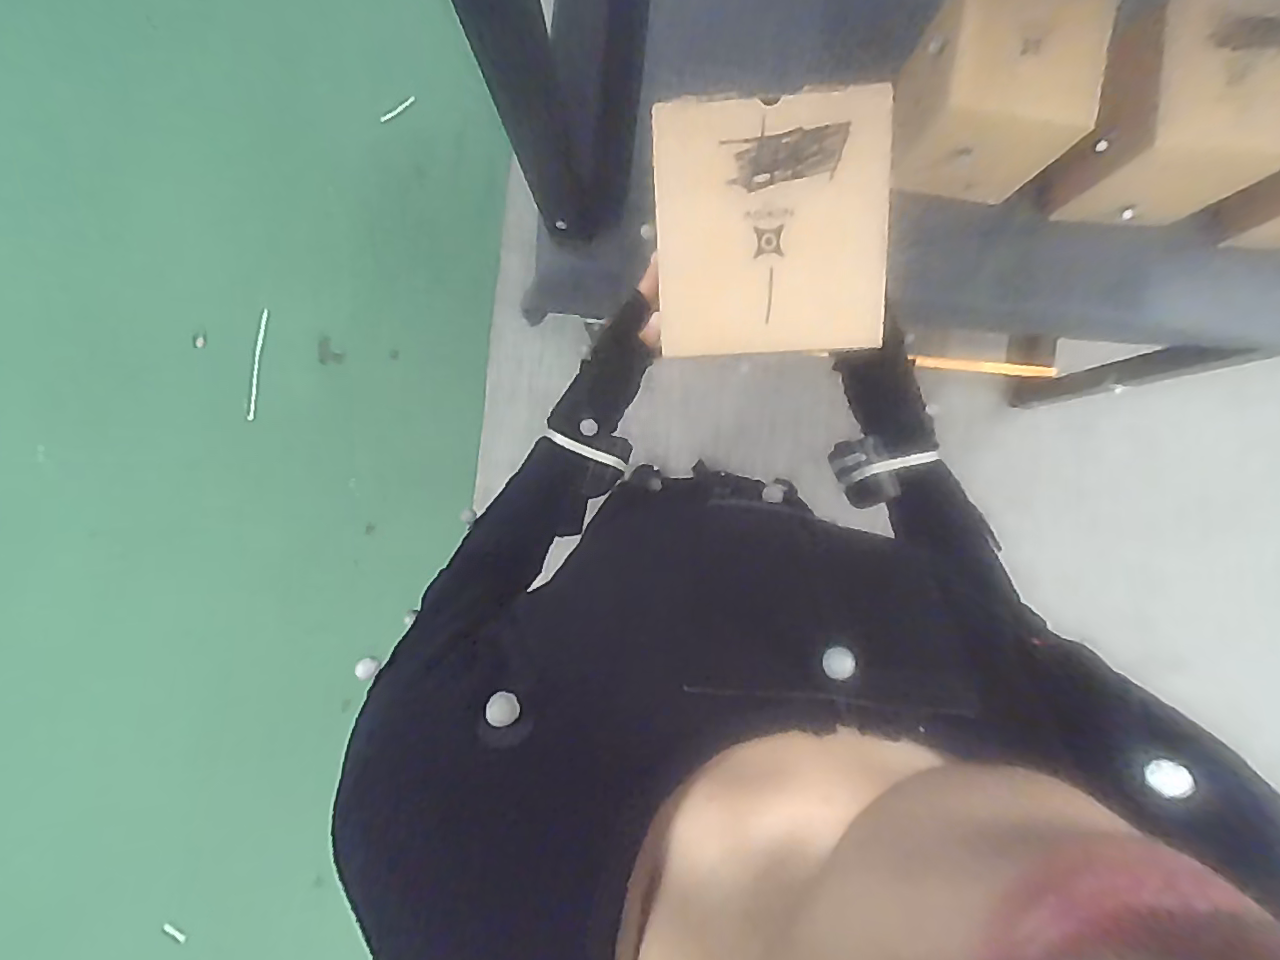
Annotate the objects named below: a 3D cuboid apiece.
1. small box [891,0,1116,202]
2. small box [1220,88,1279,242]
[{"bbox_3d":[0.439,-0.483,0.682,0.168,0.176,0.179,9,89,2],"label":"small box"},{"bbox_3d":[0.879,-0.405,0.663,0.168,0.176,0.179,4,89,1],"label":"small box"}]
